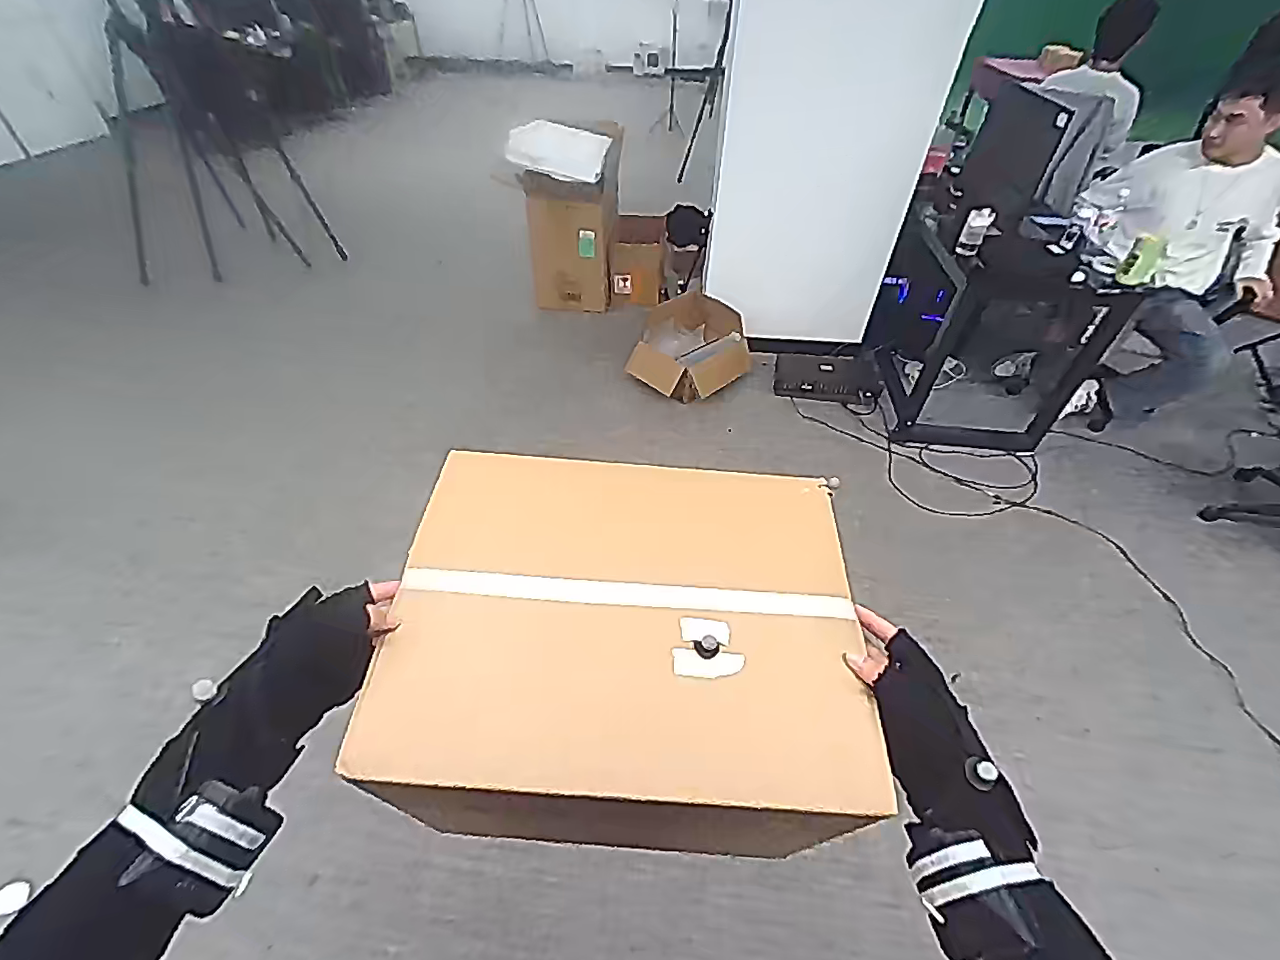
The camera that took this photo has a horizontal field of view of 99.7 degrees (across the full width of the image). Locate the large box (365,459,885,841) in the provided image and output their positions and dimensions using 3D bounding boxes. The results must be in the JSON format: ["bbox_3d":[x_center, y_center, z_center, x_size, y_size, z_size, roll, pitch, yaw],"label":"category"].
[{"bbox_3d":[-0.015,0.200,0.613,0.408,0.320,0.320,5,51,-1],"label":"large box"}]
